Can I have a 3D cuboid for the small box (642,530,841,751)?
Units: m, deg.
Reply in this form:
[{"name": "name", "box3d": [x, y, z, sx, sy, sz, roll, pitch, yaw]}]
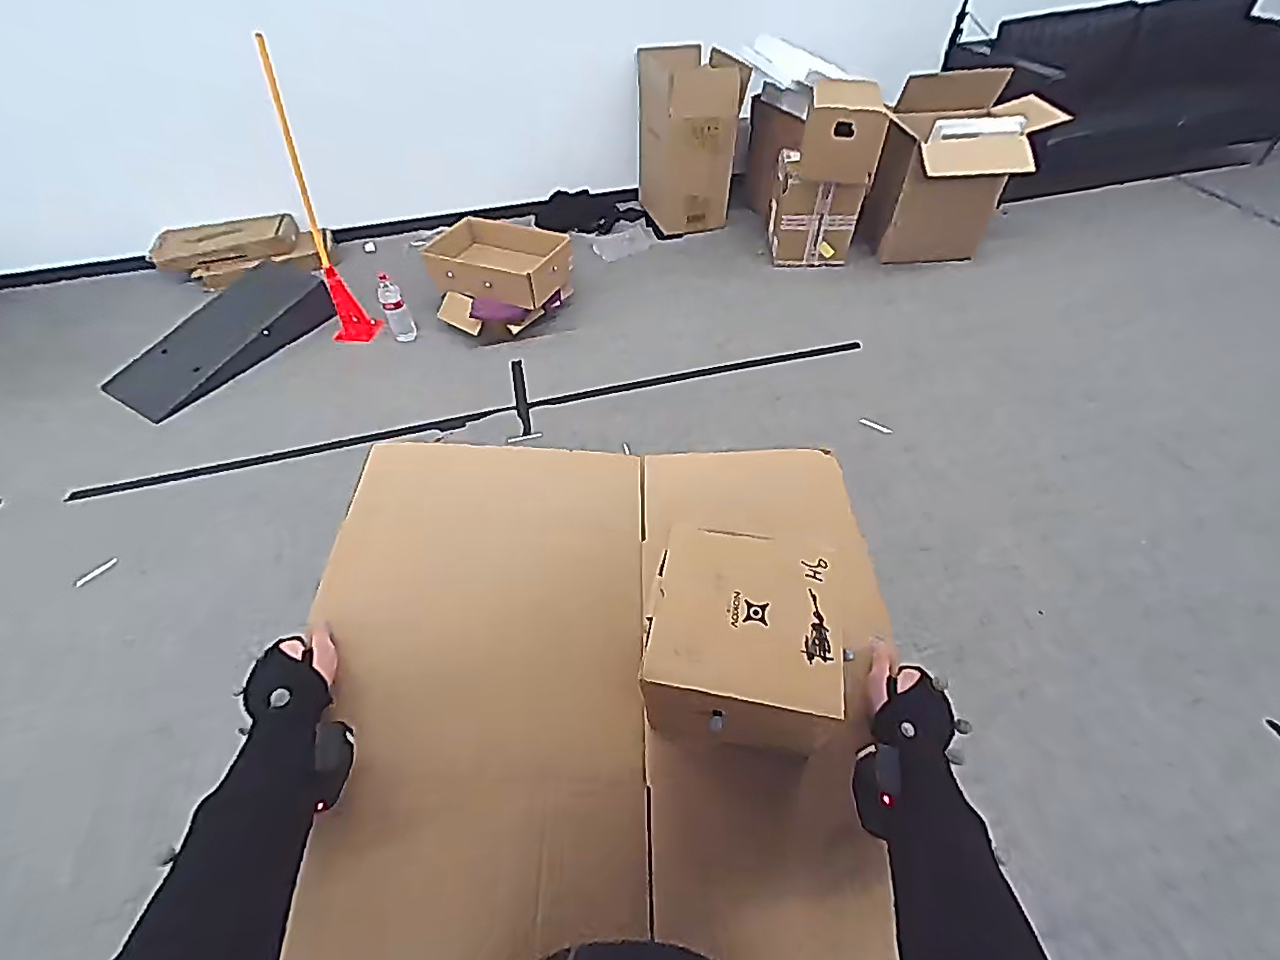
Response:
[{"name": "small box", "box3d": [0.109, 0.175, 0.580, 0.179, 0.176, 0.168, 6, 54, 11]}]
